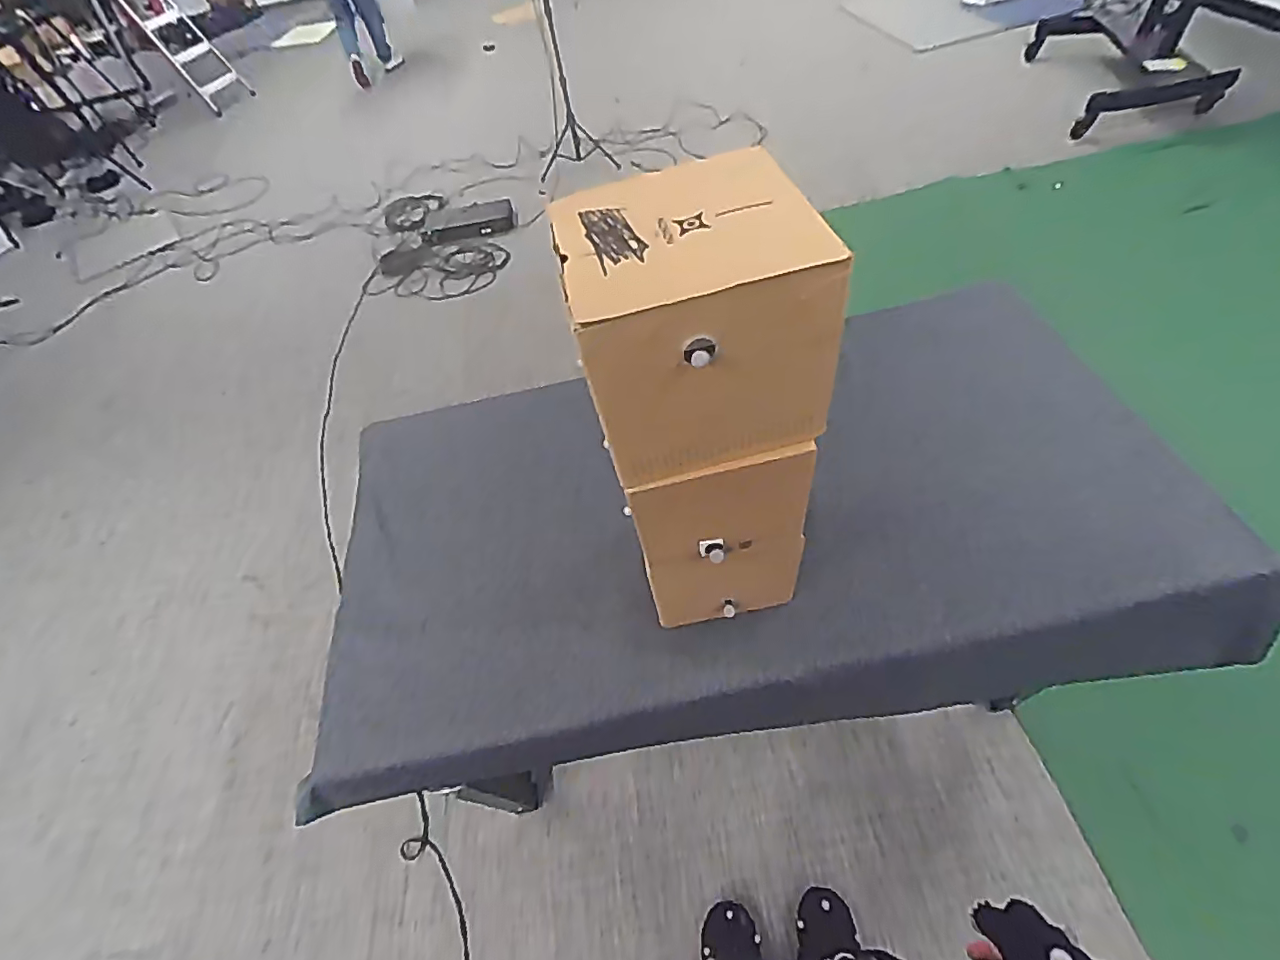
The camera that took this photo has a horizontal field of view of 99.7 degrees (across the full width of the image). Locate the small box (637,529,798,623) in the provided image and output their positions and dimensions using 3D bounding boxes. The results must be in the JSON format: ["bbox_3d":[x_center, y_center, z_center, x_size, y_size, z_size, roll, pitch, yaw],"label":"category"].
[{"bbox_3d":[0.086,0.065,0.696,0.179,0.176,0.168,-12,53,1],"label":"small box"}]

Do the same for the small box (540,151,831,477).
[{"bbox_3d":[0.032,-0.124,0.435,0.179,0.176,0.168,-14,53,1],"label":"small box"}]

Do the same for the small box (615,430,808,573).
[{"bbox_3d":[0.061,-0.028,0.565,0.168,0.176,0.179,-14,54,3],"label":"small box"}]
